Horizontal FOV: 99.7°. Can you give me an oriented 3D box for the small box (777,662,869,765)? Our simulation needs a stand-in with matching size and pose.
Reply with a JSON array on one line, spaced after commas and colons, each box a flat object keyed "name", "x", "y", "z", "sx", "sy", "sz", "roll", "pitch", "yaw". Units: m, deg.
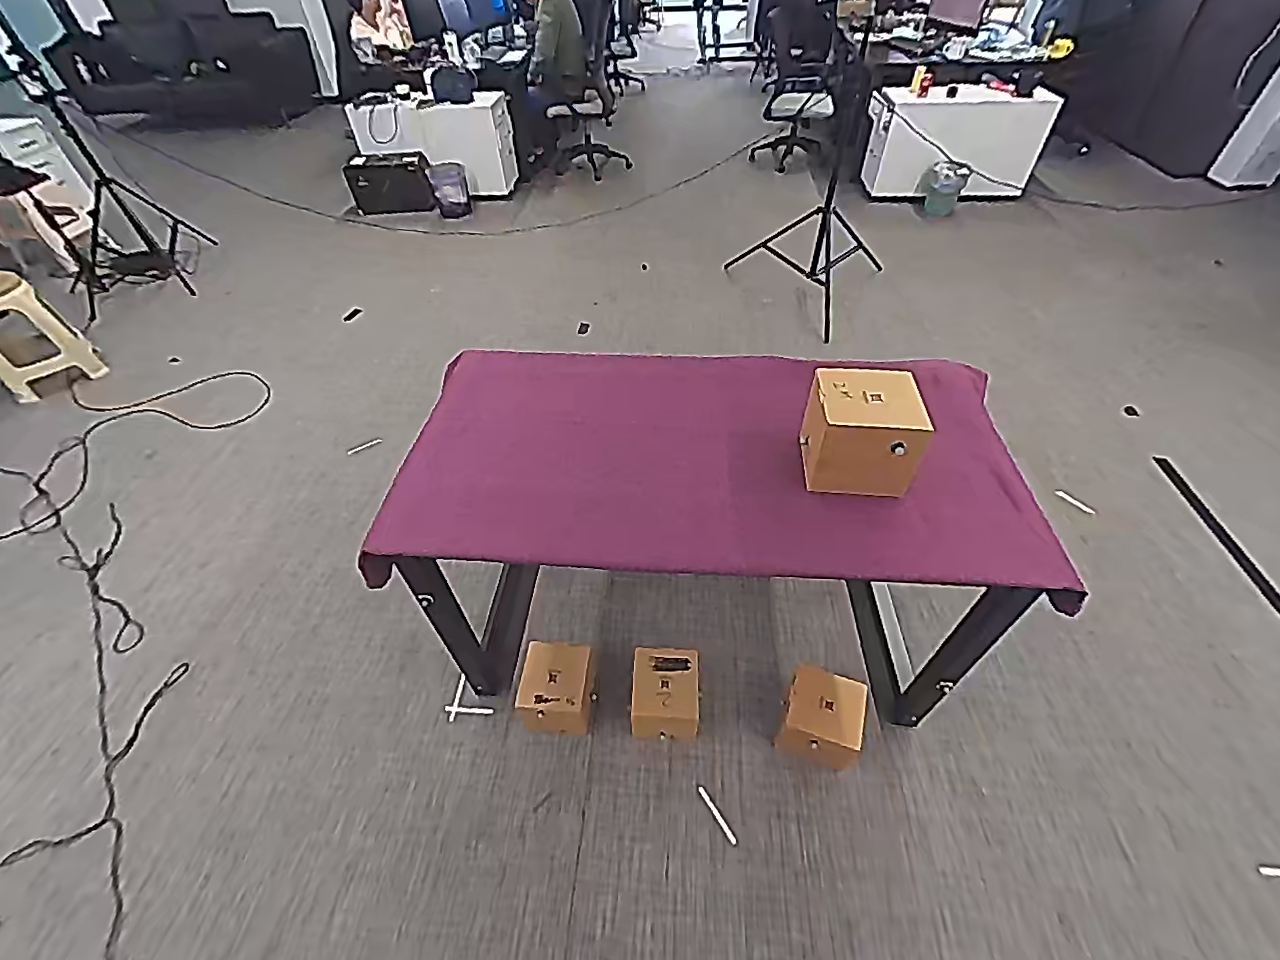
[{"name": "small box", "x": 0.459, "y": 0.592, "z": 1.364, "sx": 0.179, "sy": 0.176, "sz": 0.168, "roll": 14, "pitch": 50, "yaw": 17}]

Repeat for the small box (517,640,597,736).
[{"name": "small box", "x": -0.211, "y": 0.550, "z": 1.429, "sx": 0.168, "sy": 0.176, "sz": 0.179, "roll": 3, "pitch": 46, "yaw": 5}]

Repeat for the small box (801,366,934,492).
[{"name": "small box", "x": 0.409, "y": -0.093, "z": 1.005, "sx": 0.179, "sy": 0.176, "sz": 0.168, "roll": 3, "pitch": 46, "yaw": 6}]
